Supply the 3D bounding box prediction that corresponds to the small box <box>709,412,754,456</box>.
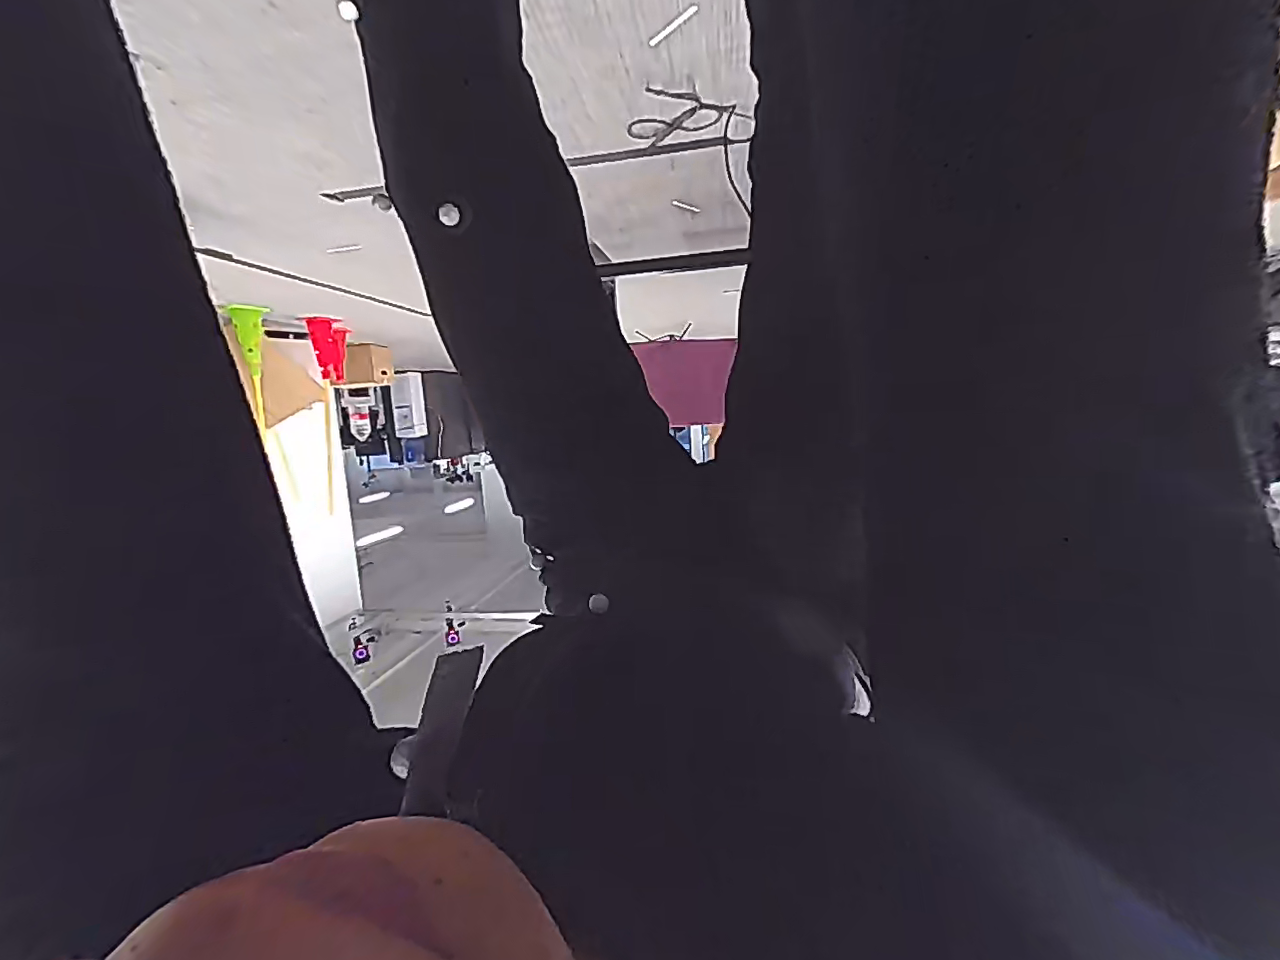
[{"bbox_3d":[0.391,-0.195,2.288,0.168,0.176,0.179,-1,-171,18],"label":"small box"}]
